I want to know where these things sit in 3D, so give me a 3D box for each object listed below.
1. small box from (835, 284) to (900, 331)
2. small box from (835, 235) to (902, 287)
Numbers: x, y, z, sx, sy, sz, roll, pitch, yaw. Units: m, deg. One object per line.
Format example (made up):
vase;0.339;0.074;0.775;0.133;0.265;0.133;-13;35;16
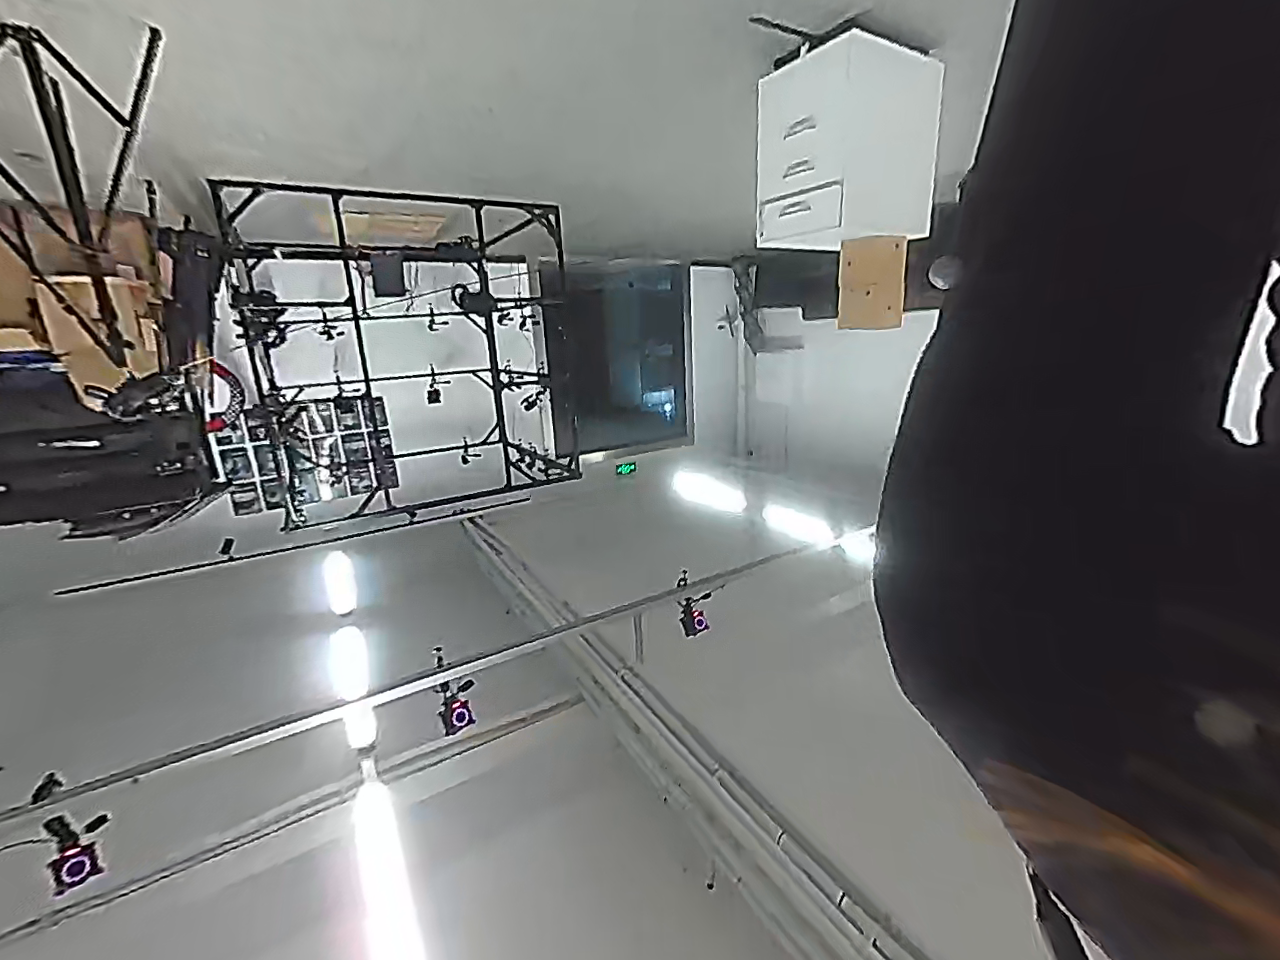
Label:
small box;0.888;-0.675;2.113;0.179;0.176;0.168;-14;-160;-28
small box;0.875;-0.831;2.064;0.168;0.176;0.179;-14;-160;-33
